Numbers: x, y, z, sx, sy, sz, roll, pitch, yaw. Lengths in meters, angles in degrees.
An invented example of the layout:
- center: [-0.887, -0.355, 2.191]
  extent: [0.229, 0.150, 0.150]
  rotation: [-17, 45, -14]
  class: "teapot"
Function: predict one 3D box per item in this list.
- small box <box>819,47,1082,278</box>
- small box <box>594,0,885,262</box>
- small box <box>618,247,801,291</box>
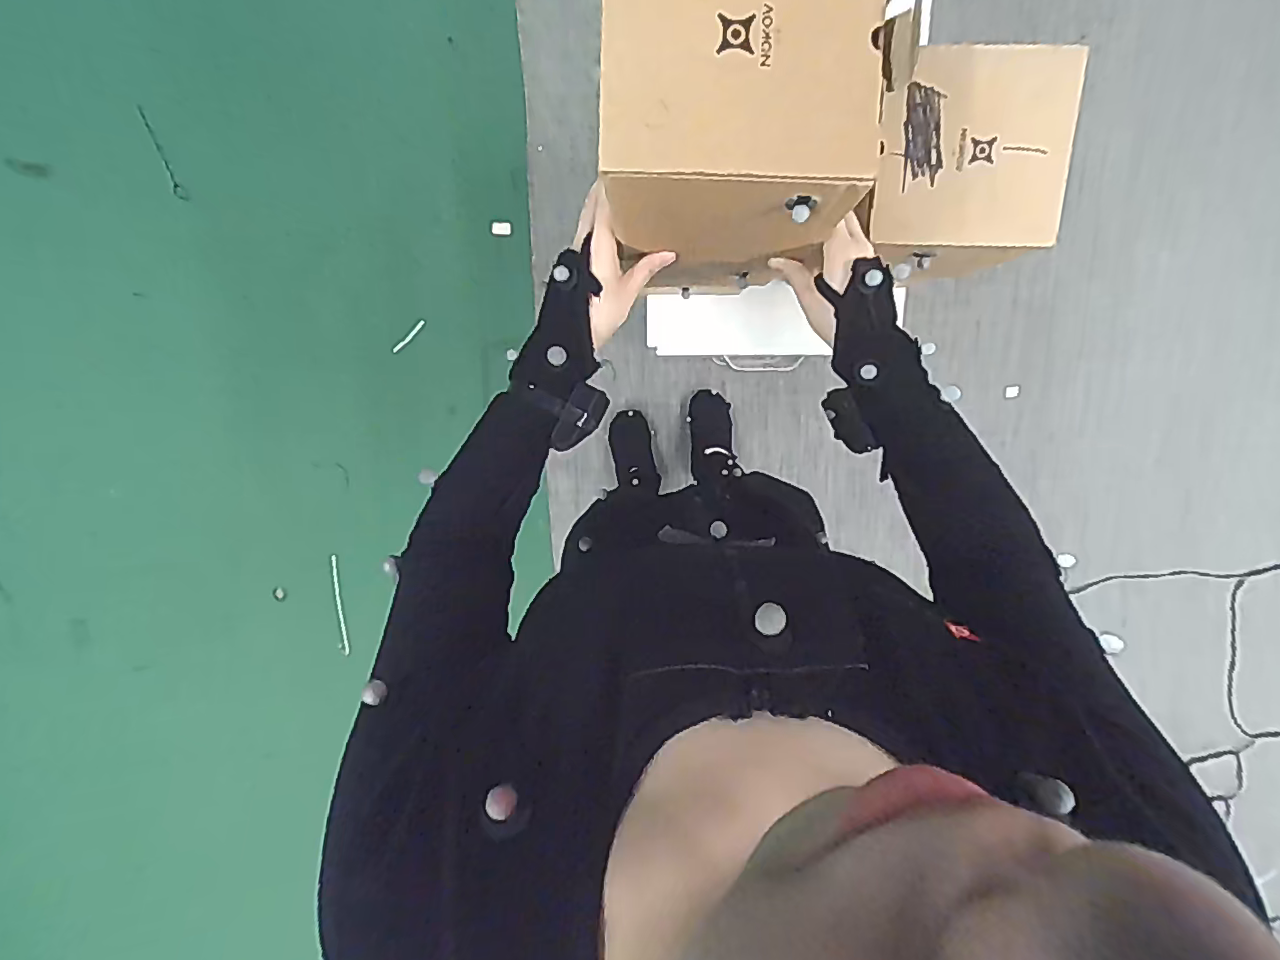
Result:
- center: [0.300, -0.312, 0.567]
  extent: [0.179, 0.176, 0.168]
  rotation: [2, 102, 2]
  class: "small box"
- center: [0.062, -0.274, 0.408]
  extent: [0.179, 0.176, 0.168]
  rotation: [2, 95, 0]
  class: "small box"
- center: [0.065, -0.302, 0.576]
  extent: [0.179, 0.176, 0.168]
  rotation: [-1, 100, 1]
  class: "small box"
